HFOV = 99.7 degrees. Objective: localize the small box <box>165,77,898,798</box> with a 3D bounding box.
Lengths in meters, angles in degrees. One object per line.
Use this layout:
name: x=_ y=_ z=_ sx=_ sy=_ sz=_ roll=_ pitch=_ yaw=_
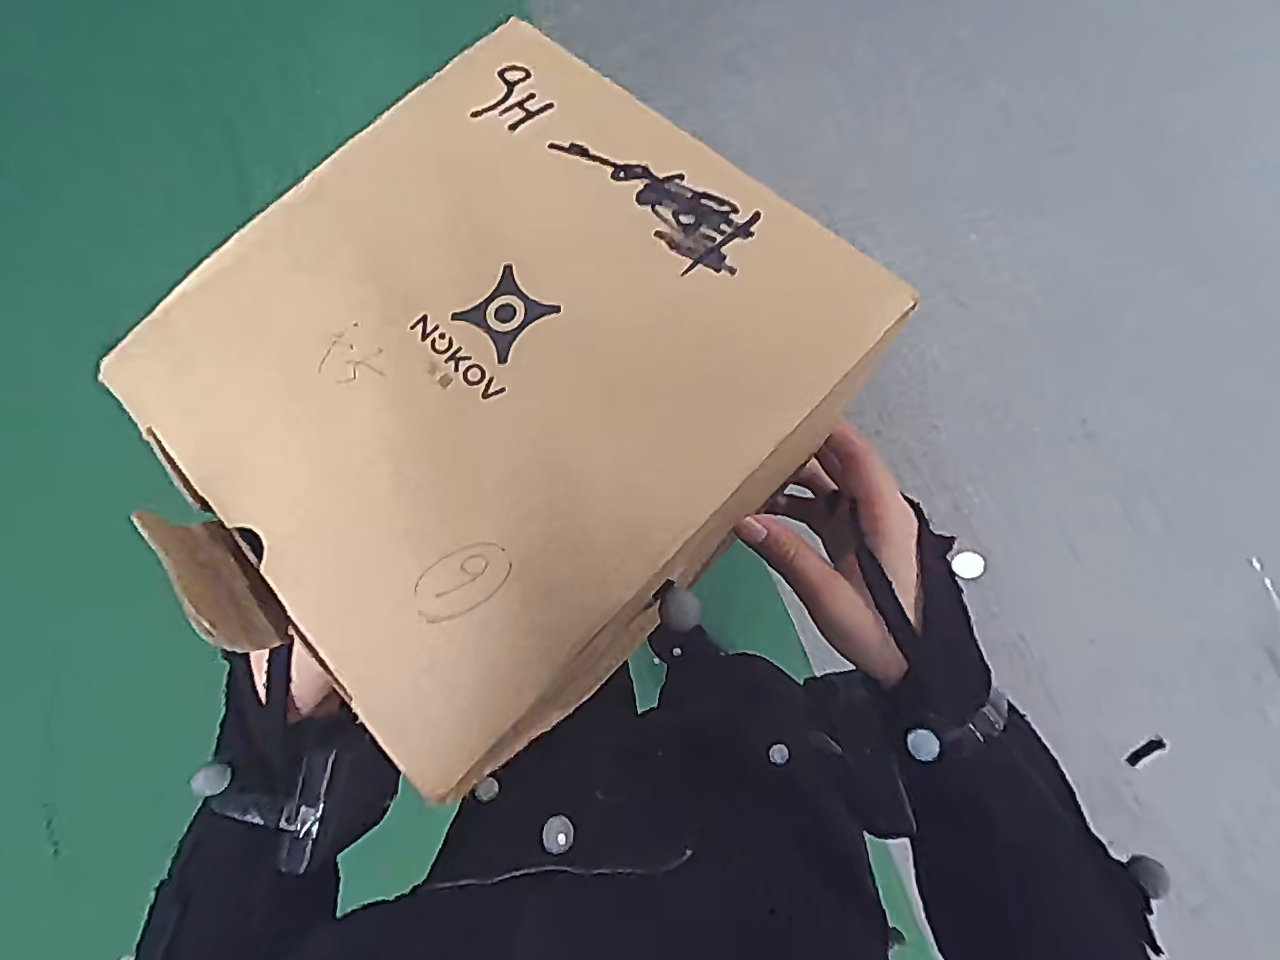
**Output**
small box: x=-0.031 y=-0.011 z=0.242 sx=0.179 sy=0.176 sz=0.168 roll=-45 pitch=76 yaw=-6
